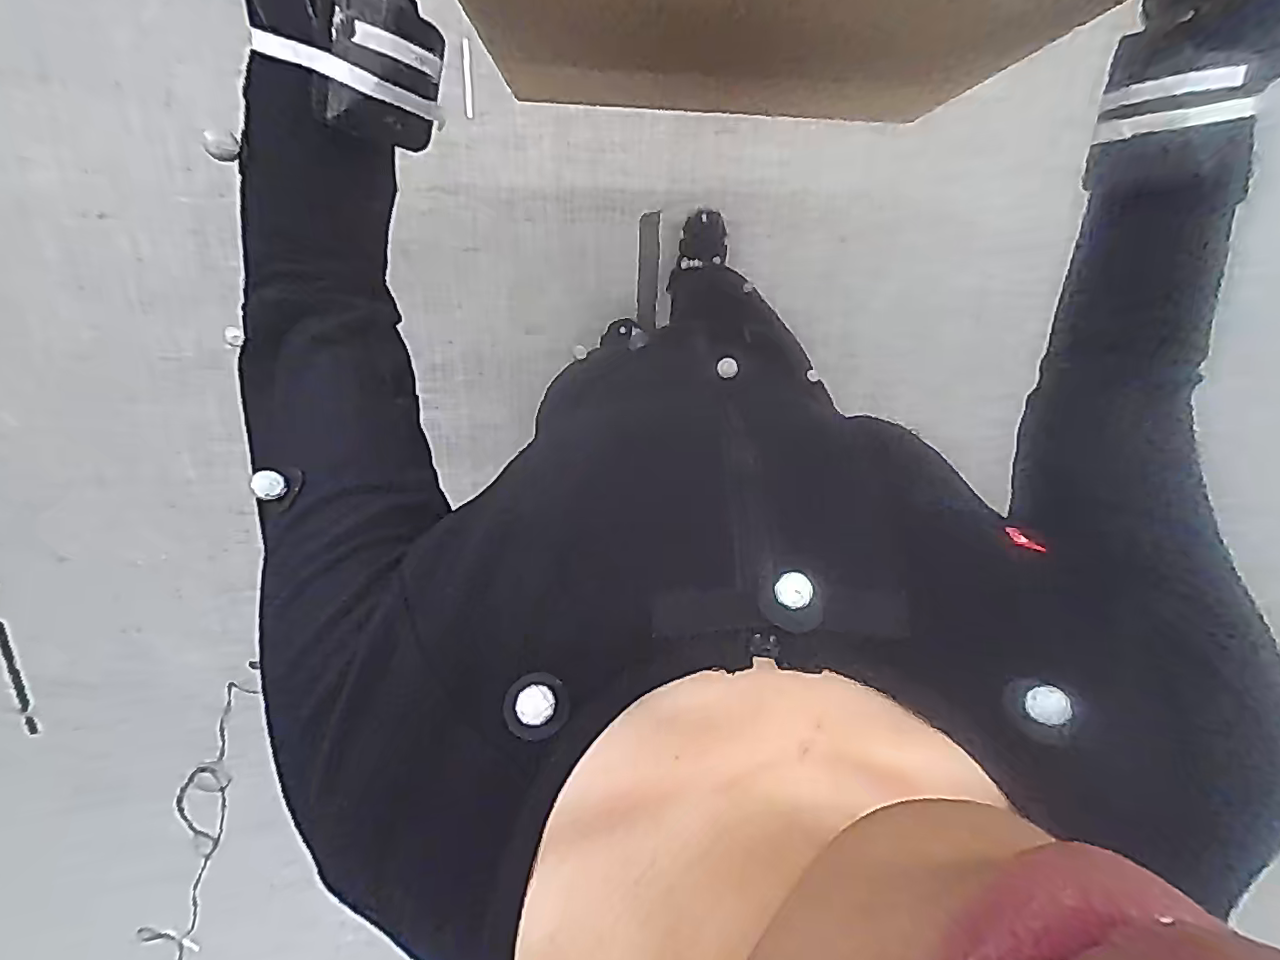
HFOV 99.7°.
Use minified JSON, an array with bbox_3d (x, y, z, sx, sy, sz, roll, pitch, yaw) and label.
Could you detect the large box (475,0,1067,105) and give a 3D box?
[{"bbox_3d":[0.084,-0.472,0.351,0.408,0.320,0.320,0,111,-3],"label":"large box"}]
